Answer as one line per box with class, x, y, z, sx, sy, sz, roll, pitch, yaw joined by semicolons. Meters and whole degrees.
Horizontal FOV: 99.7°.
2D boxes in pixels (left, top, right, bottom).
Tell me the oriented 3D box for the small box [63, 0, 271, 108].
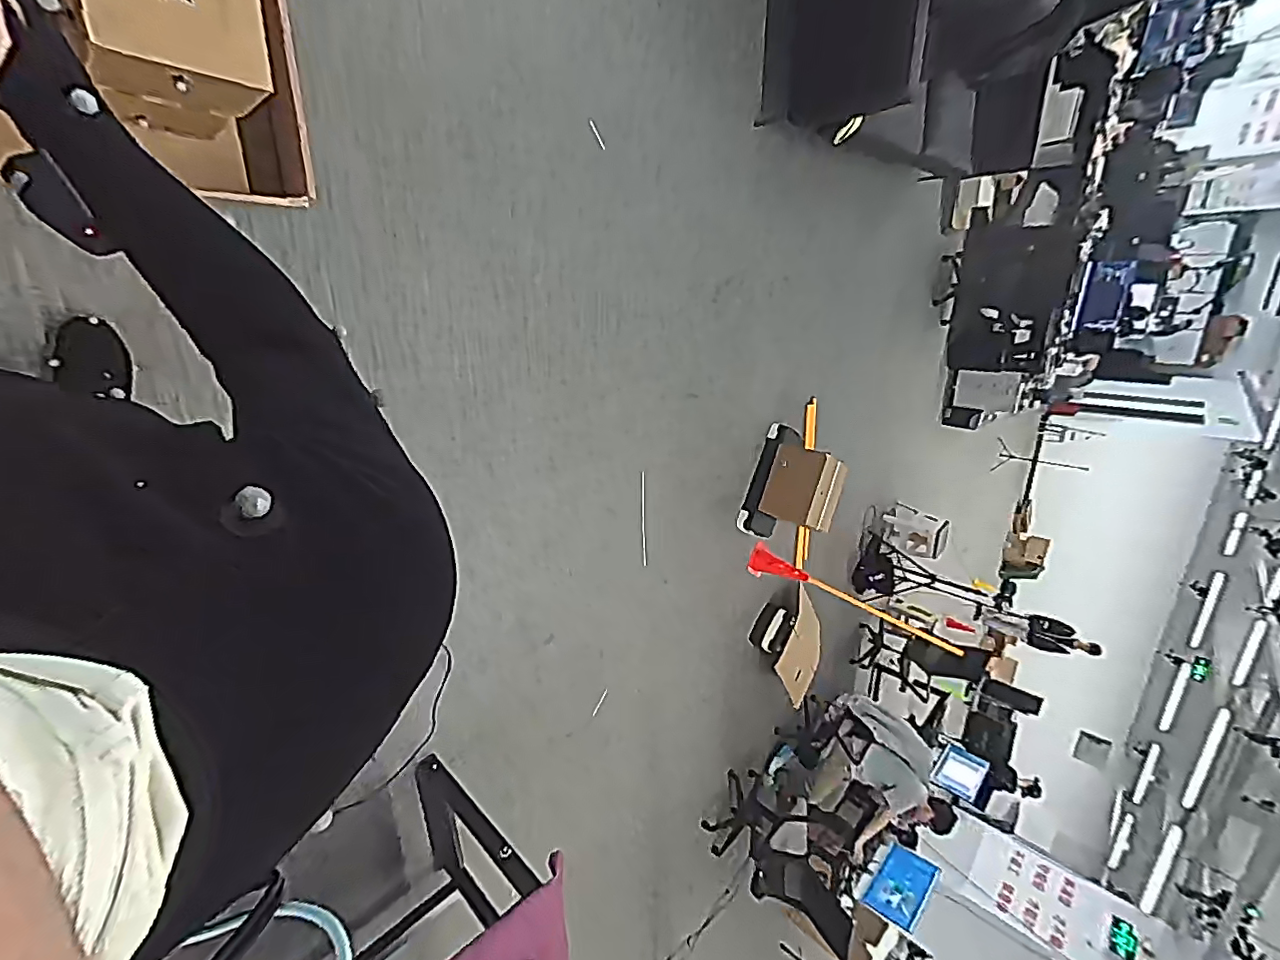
small box;-0.589;-0.586;0.666;0.179;0.176;0.168;-16;116;-45
